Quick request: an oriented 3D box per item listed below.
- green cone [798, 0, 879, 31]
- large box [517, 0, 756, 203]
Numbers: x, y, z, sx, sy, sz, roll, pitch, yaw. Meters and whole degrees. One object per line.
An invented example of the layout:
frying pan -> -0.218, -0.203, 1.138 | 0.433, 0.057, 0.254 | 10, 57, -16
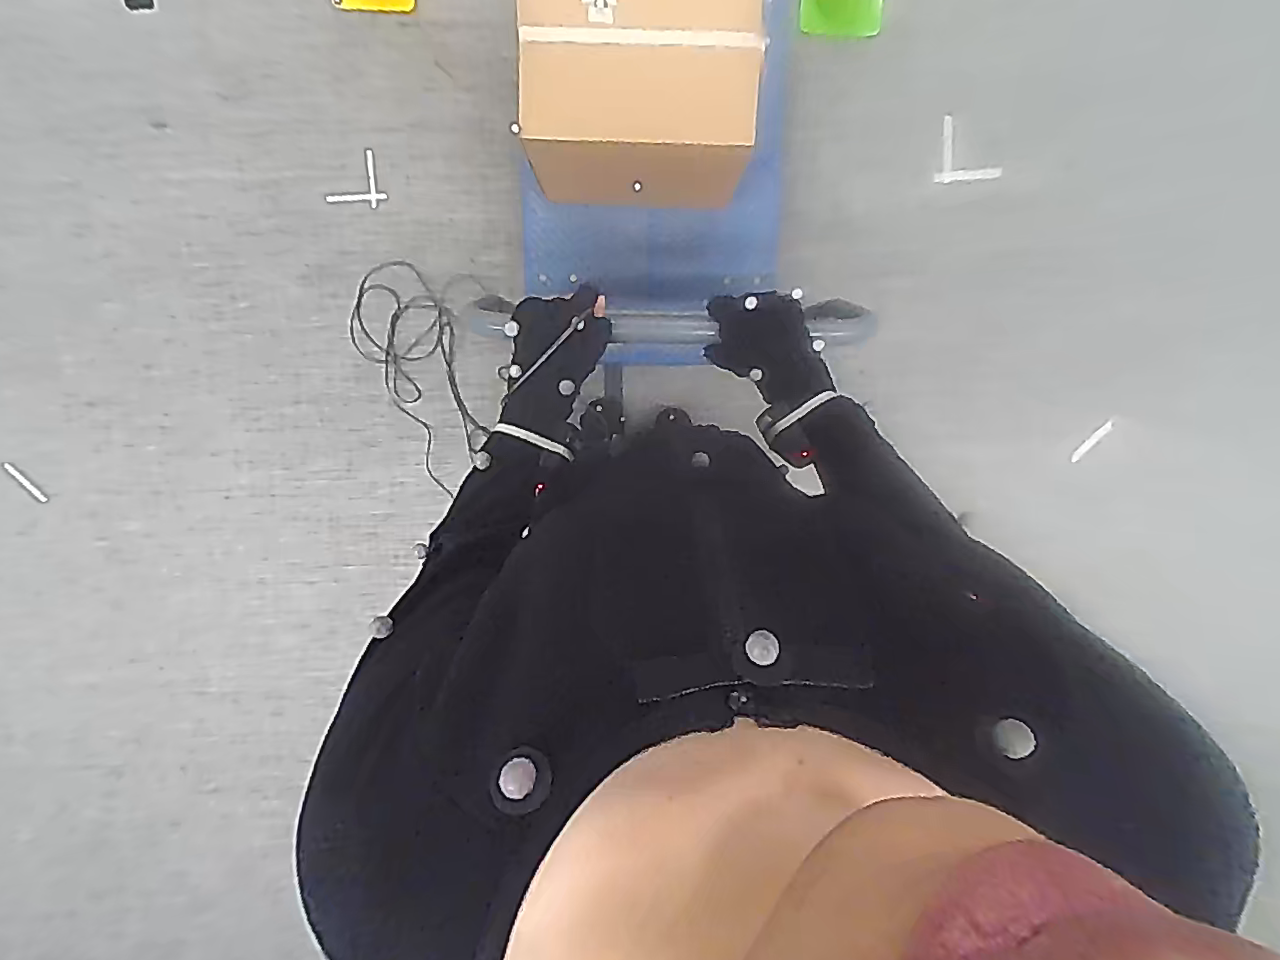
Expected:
green cone -> 0.491, -1.177, 1.139 | 0.202, 0.368, 0.200 | 2, 98, -2
large box -> -0.005, -0.750, 1.048 | 0.408, 0.320, 0.320 | 1, 98, 0
